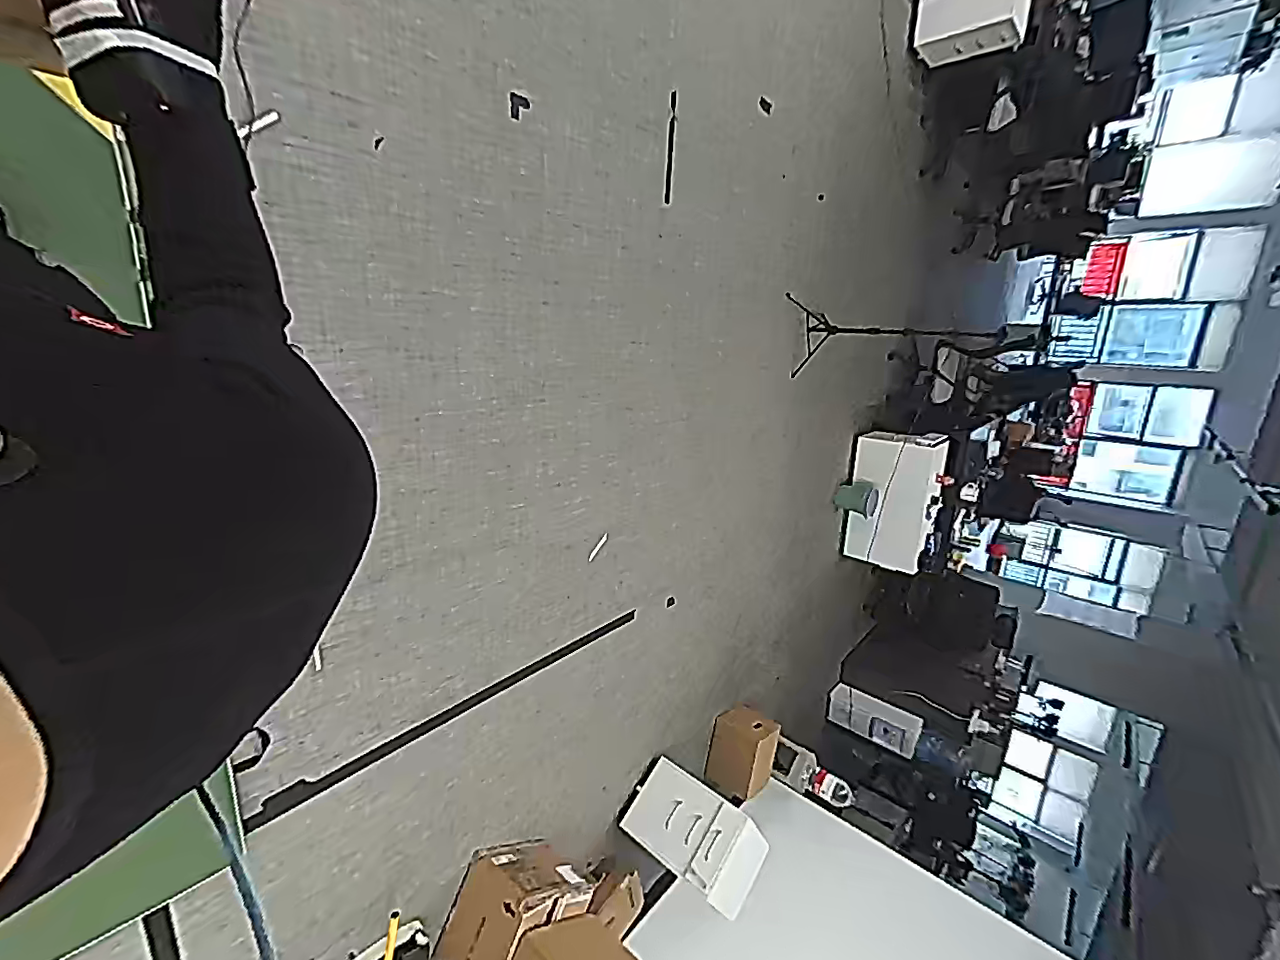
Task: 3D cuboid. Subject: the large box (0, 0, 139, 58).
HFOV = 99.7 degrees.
[{"bbox_3d":[-0.588,-0.477,0.276,0.408,0.320,0.320,-18,126,-48],"label":"large box"}]
